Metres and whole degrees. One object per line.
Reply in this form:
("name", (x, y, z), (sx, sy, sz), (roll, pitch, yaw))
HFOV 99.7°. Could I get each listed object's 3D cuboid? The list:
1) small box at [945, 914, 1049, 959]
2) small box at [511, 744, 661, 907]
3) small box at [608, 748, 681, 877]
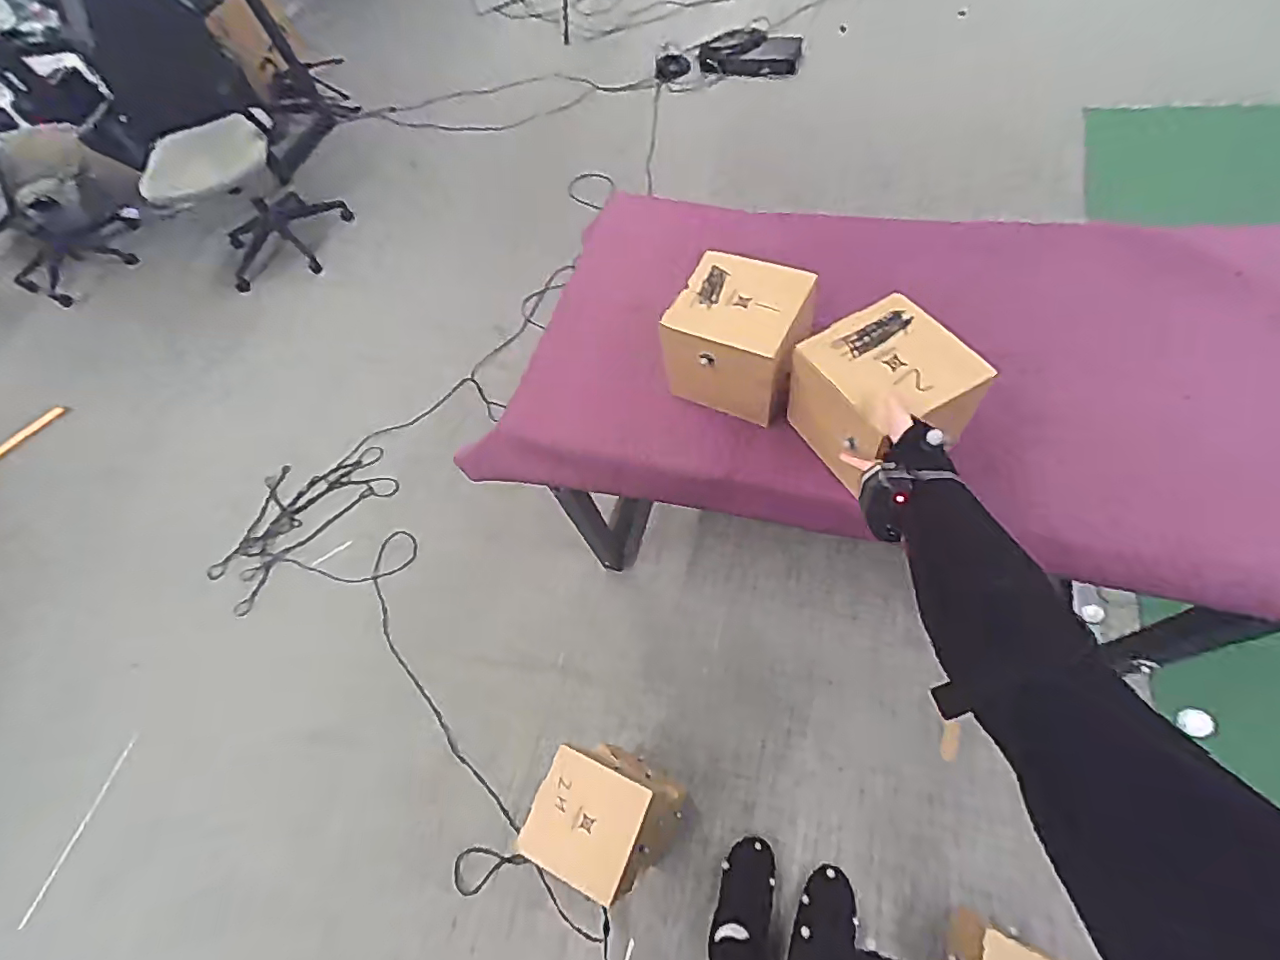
("small box", (0.653, 0.913, 0.958), (0.179, 0.176, 0.168), (19, 67, 21))
("small box", (-0.078, 0.570, 0.914), (0.179, 0.176, 0.168), (18, 65, 21))
("small box", (-0.021, 0.725, 1.196), (0.168, 0.176, 0.179), (25, 70, 23))
